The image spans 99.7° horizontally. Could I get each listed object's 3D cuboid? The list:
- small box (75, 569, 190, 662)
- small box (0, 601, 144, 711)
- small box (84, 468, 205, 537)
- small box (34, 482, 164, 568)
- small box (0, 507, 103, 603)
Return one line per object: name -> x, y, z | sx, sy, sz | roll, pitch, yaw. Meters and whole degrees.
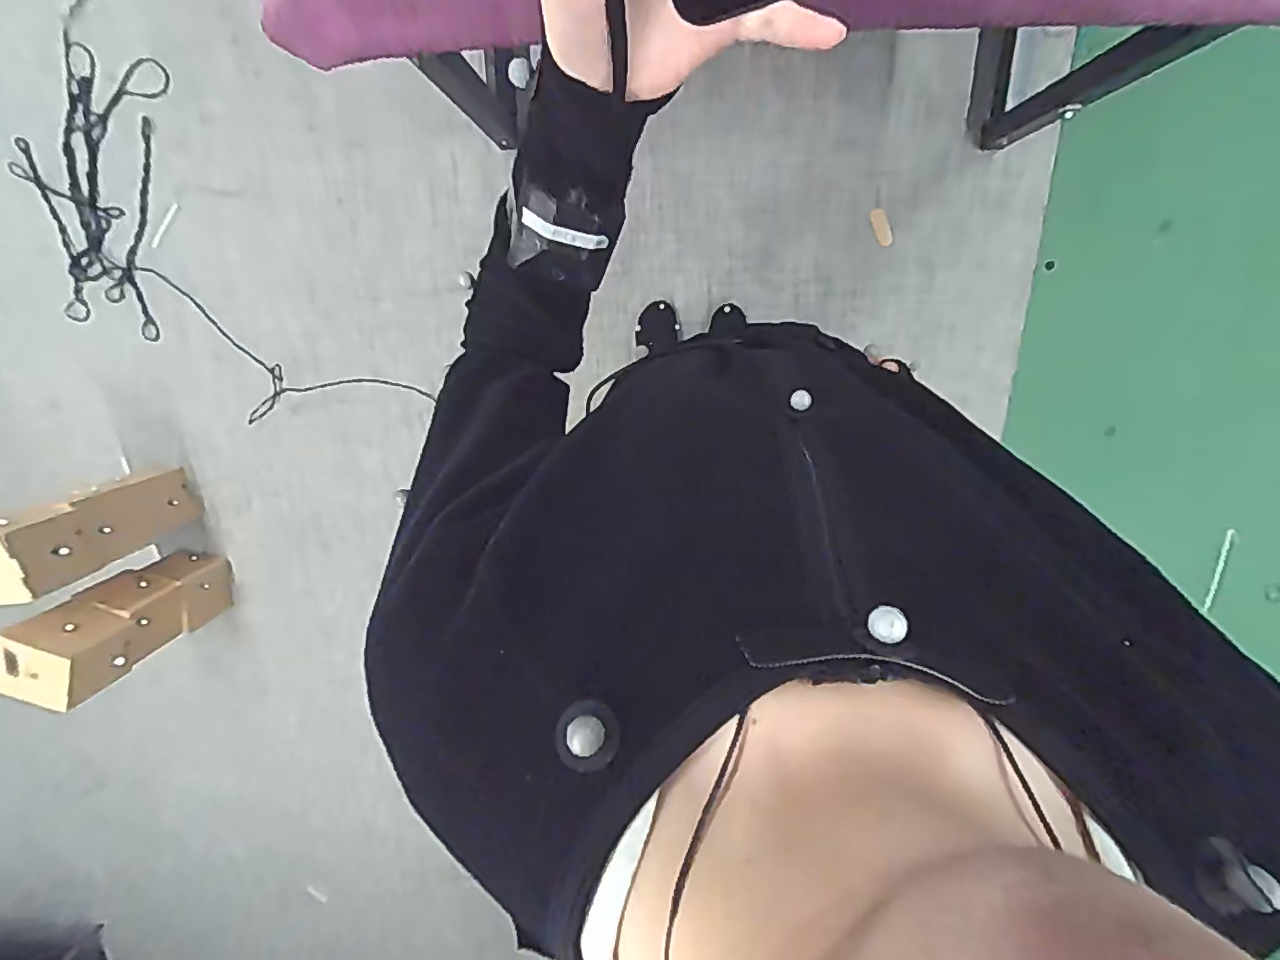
small box -> -1.388, 0.373, 1.486 | 0.168, 0.176, 0.179 | 17, 106, -1
small box -> -1.390, 0.422, 1.329 | 0.179, 0.176, 0.168 | 21, 107, -3
small box -> -1.413, 0.070, 1.562 | 0.179, 0.176, 0.168 | -7, 106, 6
small box -> -1.410, 0.124, 1.408 | 0.168, 0.176, 0.179 | -12, 106, 6
small box -> -1.413, 0.169, 1.251 | 0.179, 0.176, 0.168 | -4, 107, 3
